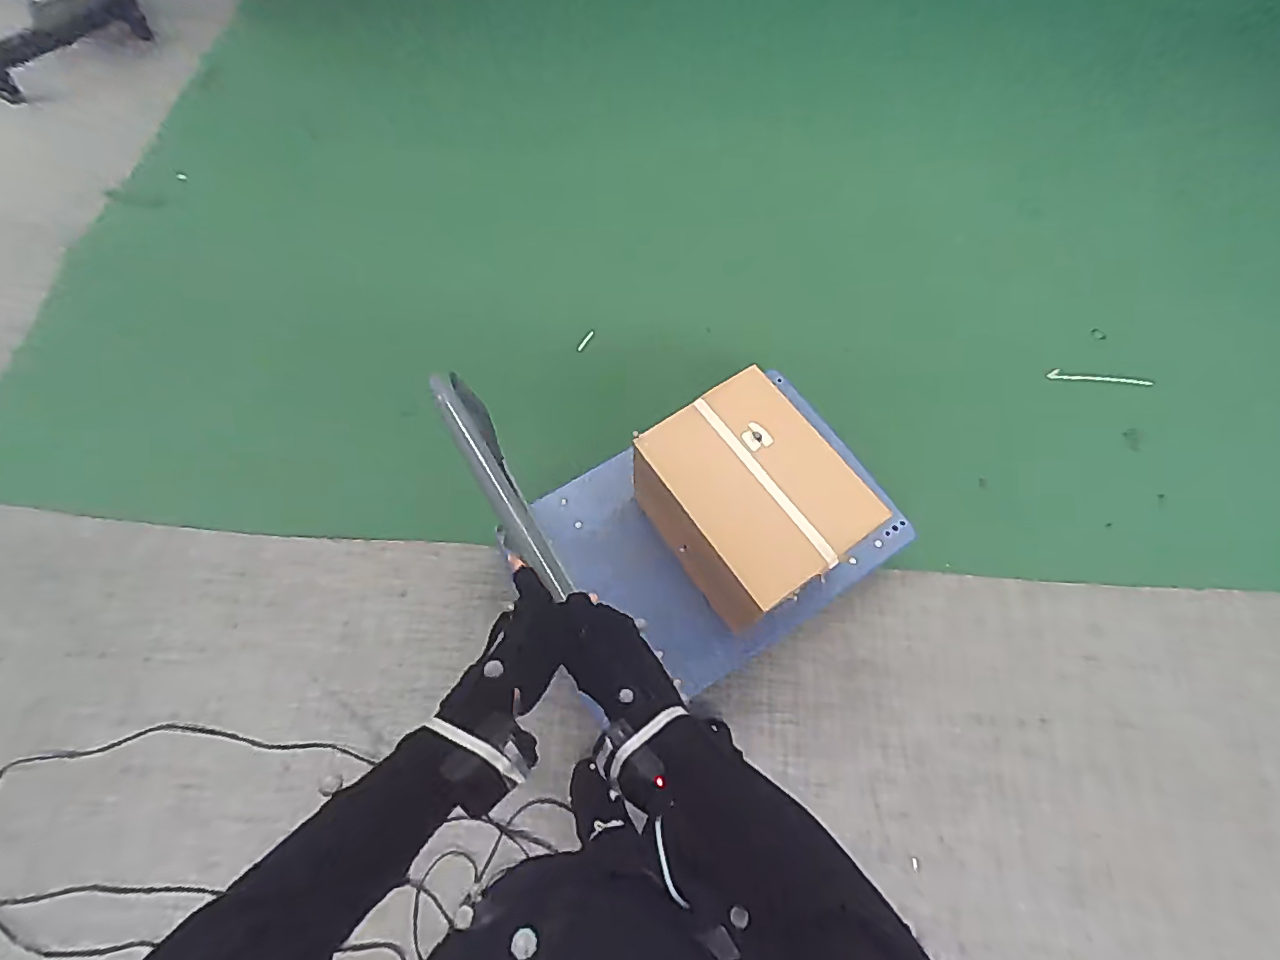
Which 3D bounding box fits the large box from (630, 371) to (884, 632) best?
[{"bbox_3d":[0.219,0.057,1.166,0.320,0.320,0.408,-32,70,-14],"label":"large box"}]
